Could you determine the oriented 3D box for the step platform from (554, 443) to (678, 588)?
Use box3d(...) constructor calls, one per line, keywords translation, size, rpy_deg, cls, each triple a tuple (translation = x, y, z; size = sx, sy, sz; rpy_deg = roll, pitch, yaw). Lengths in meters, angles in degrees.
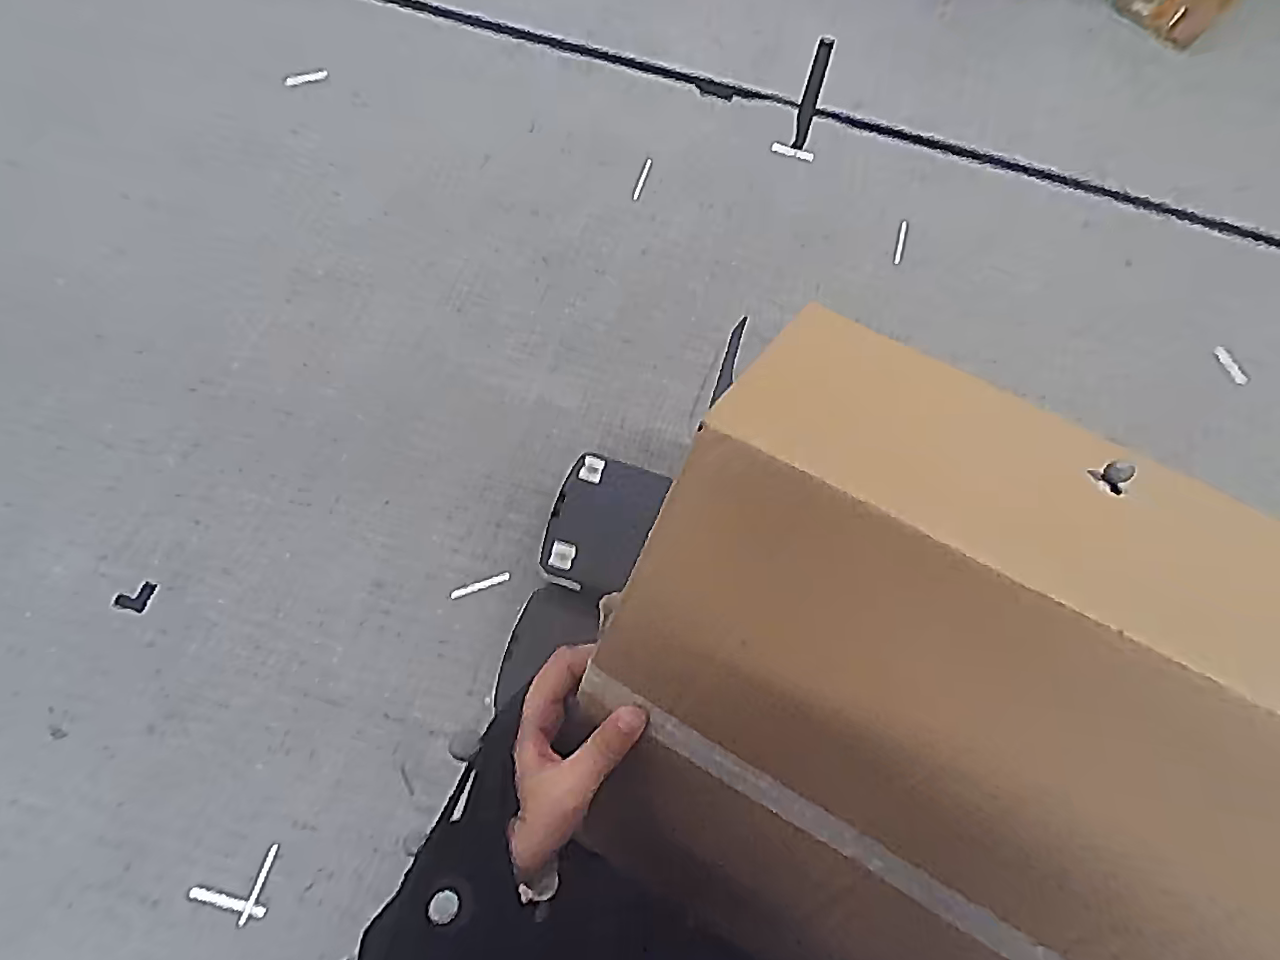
box3d(translation=(0.159, 0.175, 1.202), size=(0.684, 0.204, 0.286), rpy_deg=(23, 73, 2), cls="step platform")
